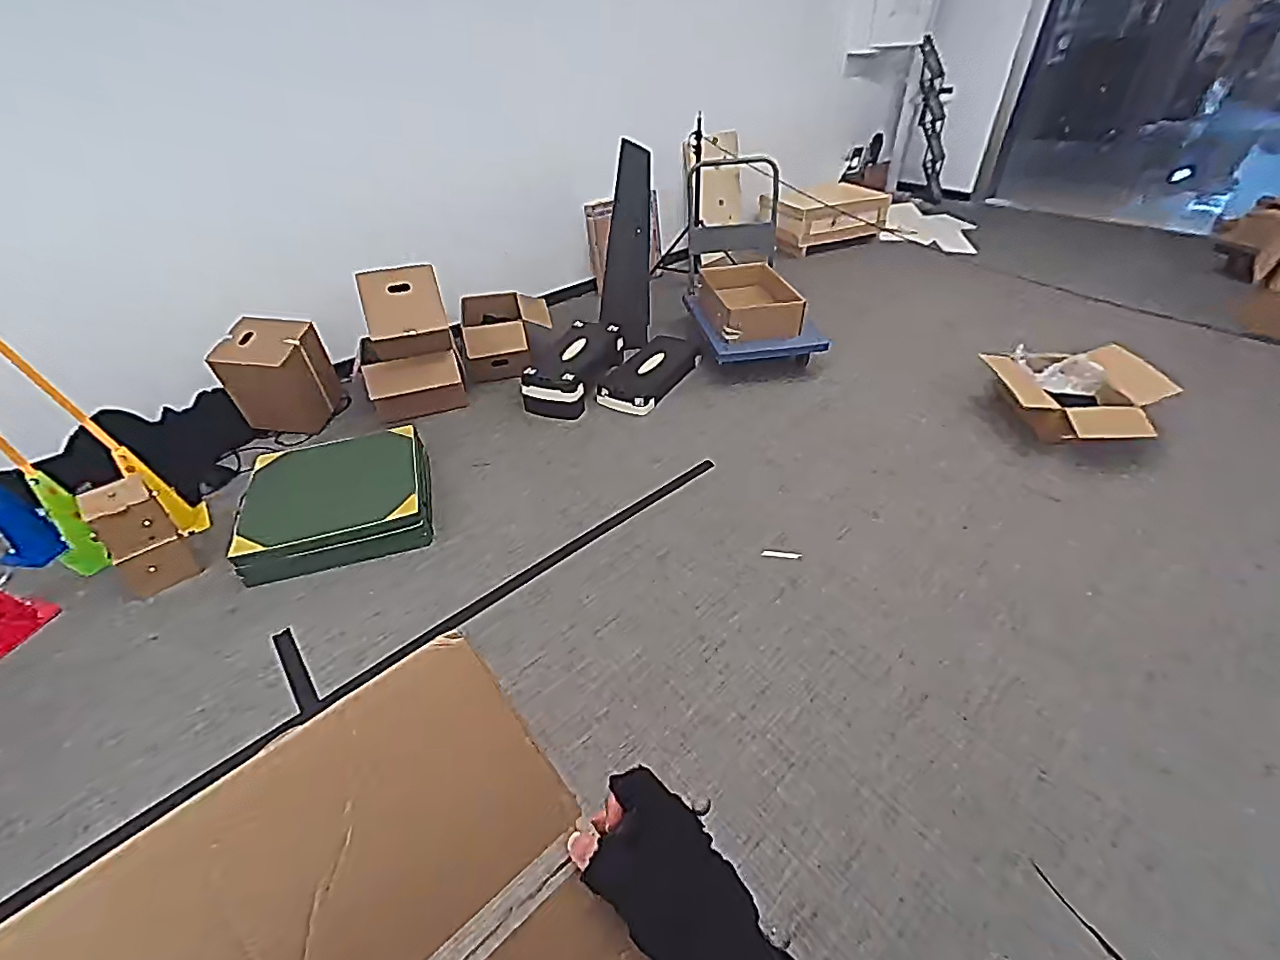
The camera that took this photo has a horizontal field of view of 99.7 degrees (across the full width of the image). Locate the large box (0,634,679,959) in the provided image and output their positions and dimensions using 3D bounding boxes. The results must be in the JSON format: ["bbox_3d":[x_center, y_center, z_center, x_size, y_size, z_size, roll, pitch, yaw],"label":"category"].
[{"bbox_3d":[-0.226,0.379,0.394,0.408,0.320,0.320,-32,81,-27],"label":"large box"}]
